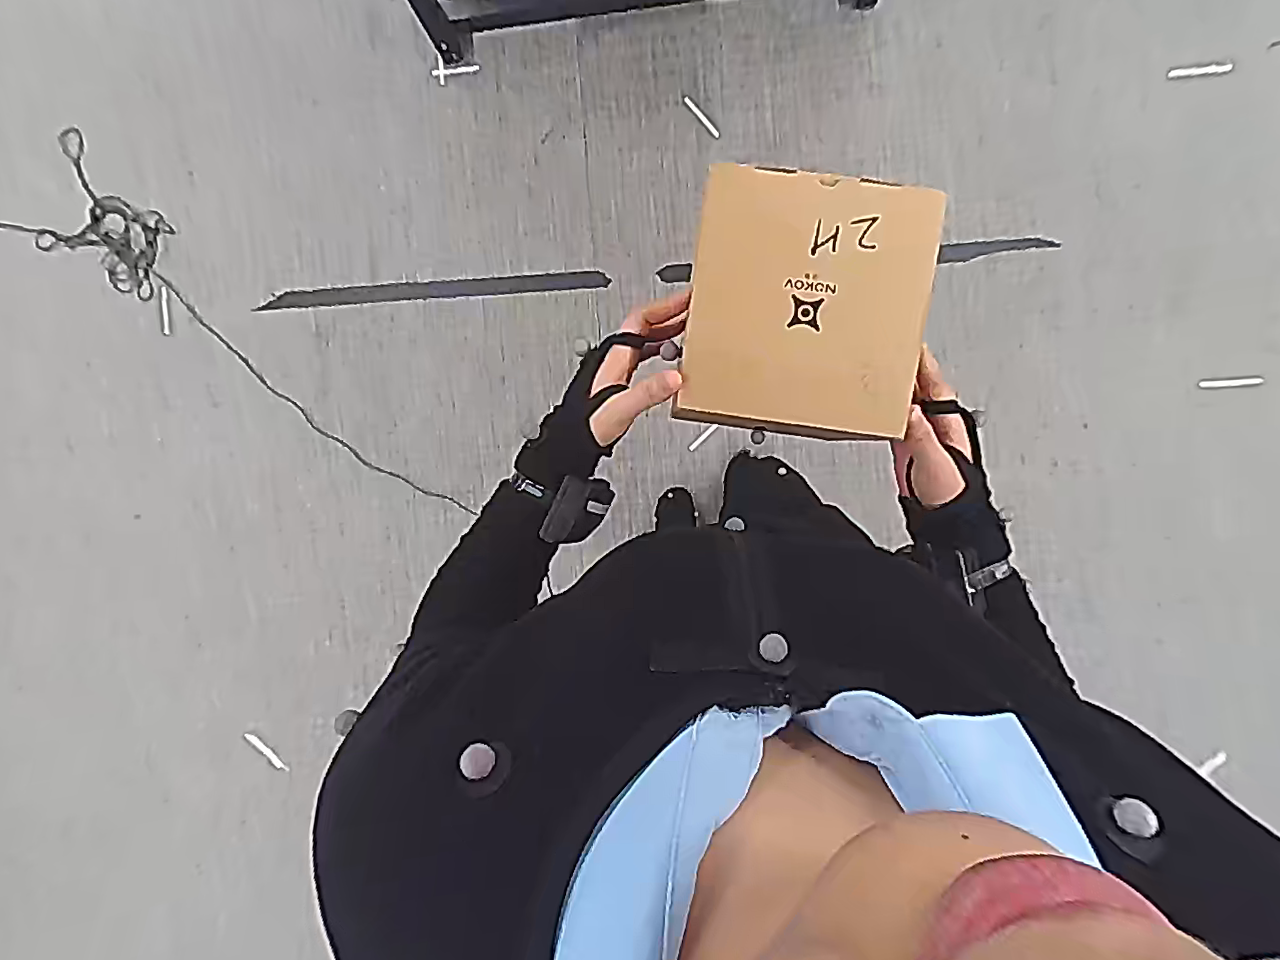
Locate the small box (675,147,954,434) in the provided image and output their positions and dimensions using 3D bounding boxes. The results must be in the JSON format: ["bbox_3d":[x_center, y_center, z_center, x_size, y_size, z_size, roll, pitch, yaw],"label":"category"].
[{"bbox_3d":[0.122,-0.135,0.453,0.168,0.176,0.179,9,93,1],"label":"small box"}]
